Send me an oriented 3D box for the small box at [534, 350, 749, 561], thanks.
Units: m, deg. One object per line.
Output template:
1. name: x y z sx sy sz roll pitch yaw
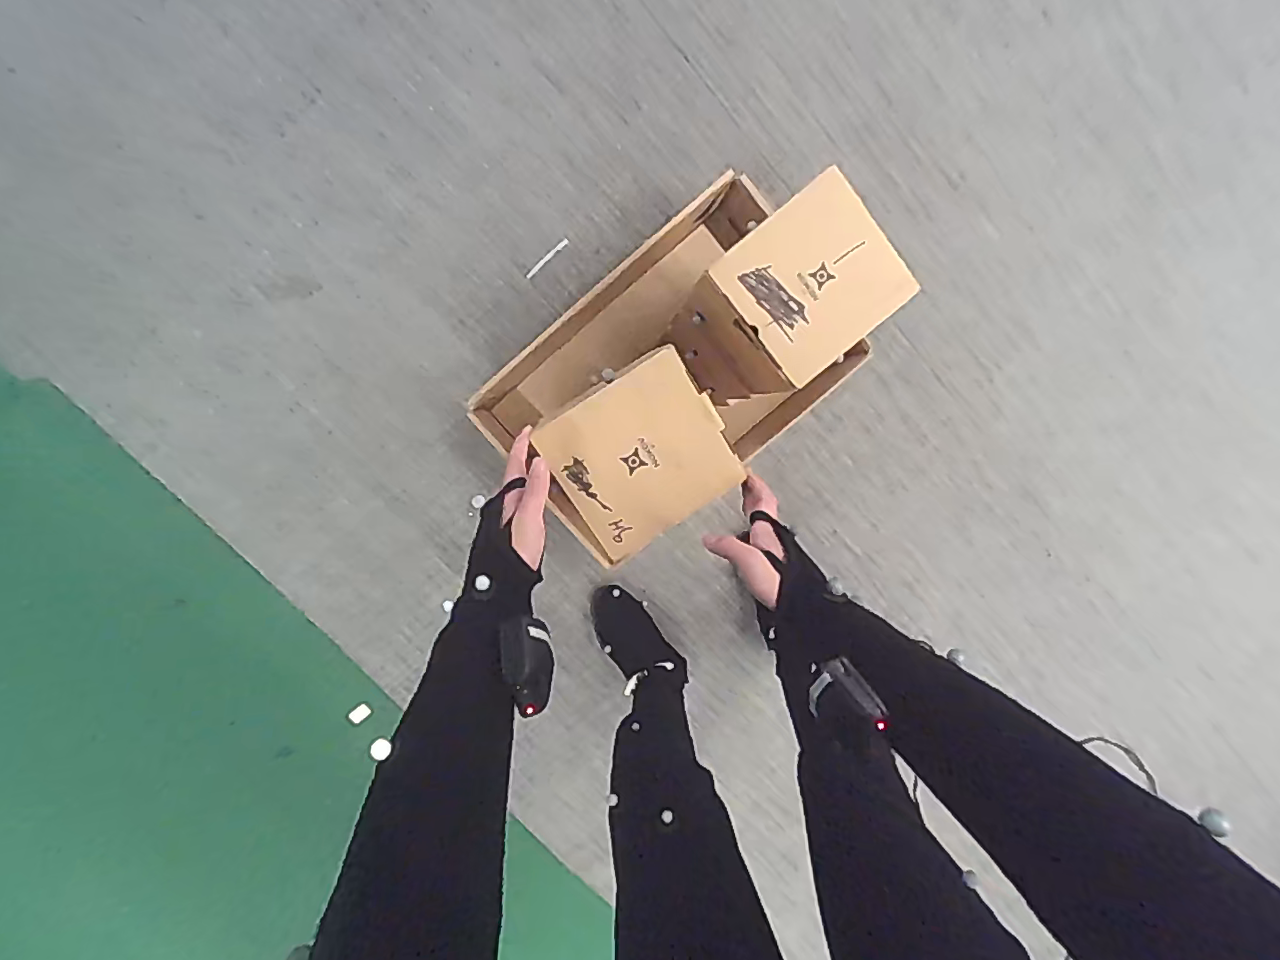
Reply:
1. small box: -0.002 -0.039 0.641 0.179 0.176 0.168 -32 102 4

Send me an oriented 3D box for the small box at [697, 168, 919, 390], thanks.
1. small box: 0.184 -0.223 0.659 0.179 0.176 0.168 -39 98 2
